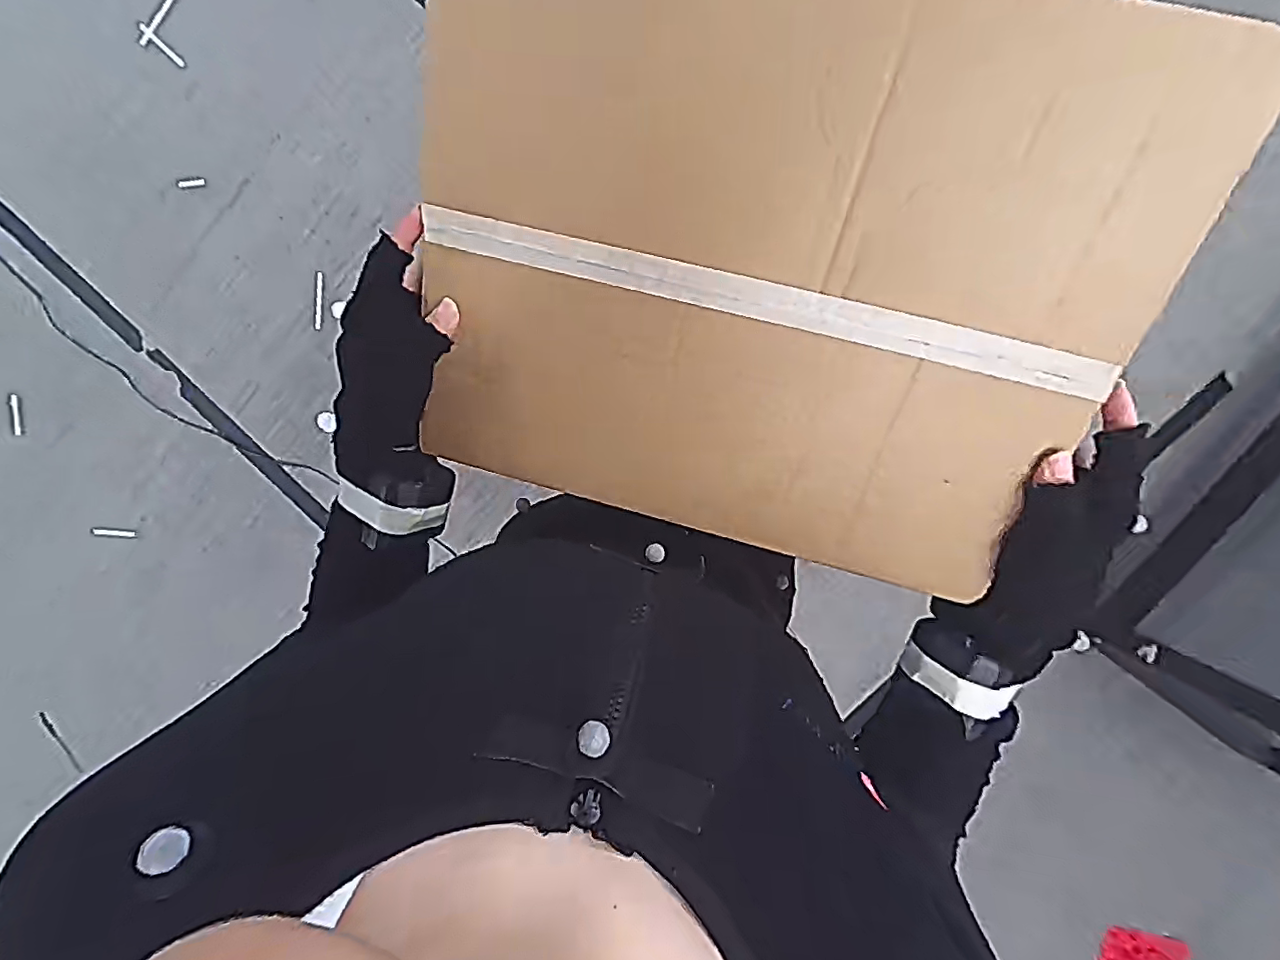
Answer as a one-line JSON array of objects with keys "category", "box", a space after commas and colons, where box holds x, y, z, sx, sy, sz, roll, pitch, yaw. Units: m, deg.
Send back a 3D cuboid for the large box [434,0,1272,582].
[{"category": "large box", "box": [0.091, -0.170, 0.456, 0.408, 0.320, 0.320, 15, 117, 4]}]
